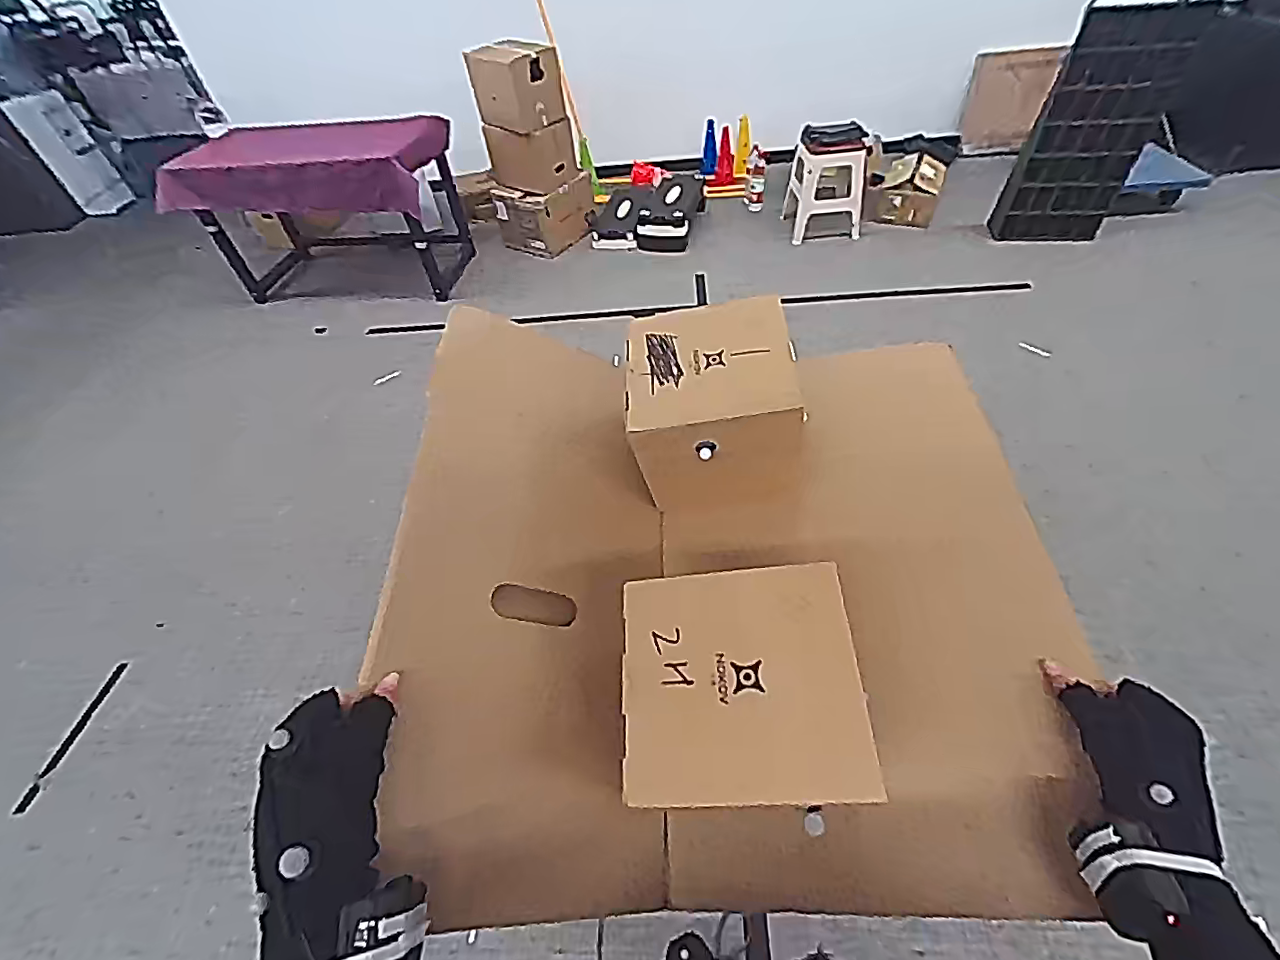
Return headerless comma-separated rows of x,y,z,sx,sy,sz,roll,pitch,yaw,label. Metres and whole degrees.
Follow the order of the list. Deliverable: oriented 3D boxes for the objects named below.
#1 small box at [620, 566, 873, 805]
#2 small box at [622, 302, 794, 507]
0.088,0.189,0.479,0.179,0.176,0.168,-8,57,12,small box
0.085,-0.080,0.647,0.179,0.176,0.168,-7,57,11,small box
